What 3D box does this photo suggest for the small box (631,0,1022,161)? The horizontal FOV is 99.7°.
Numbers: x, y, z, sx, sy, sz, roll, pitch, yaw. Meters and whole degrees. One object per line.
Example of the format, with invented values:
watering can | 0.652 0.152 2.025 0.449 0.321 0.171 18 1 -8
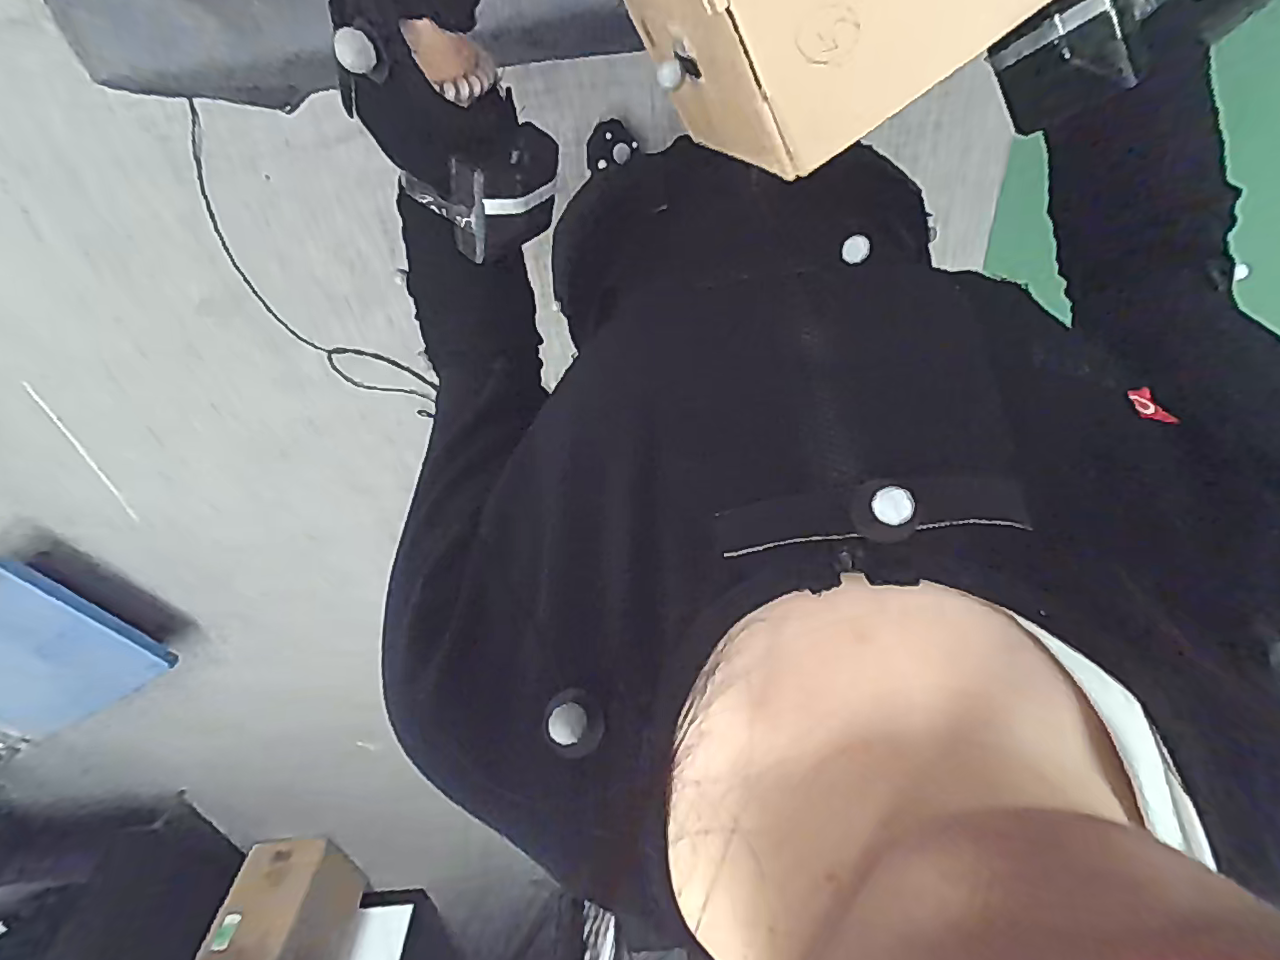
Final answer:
small box | 0.070 -0.257 0.202 0.179 0.176 0.168 -33 125 13
